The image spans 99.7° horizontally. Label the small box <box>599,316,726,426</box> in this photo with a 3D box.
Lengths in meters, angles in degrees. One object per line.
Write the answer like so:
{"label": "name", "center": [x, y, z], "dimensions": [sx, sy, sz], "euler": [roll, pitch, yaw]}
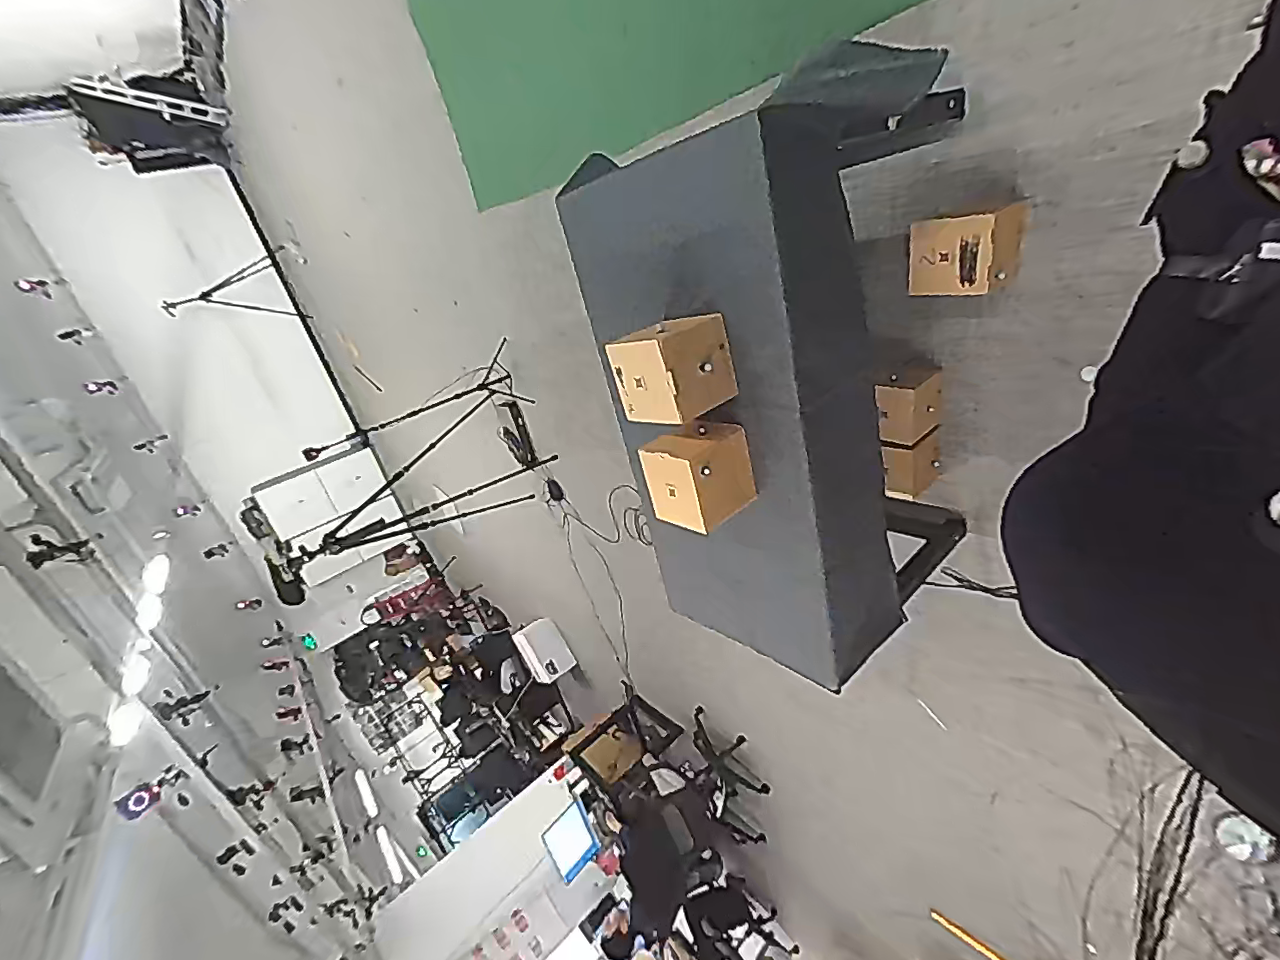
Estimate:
{"label": "small box", "center": [0.052, -0.217, 1.072], "dimensions": [0.179, 0.176, 0.168], "euler": [11, 125, 50]}
